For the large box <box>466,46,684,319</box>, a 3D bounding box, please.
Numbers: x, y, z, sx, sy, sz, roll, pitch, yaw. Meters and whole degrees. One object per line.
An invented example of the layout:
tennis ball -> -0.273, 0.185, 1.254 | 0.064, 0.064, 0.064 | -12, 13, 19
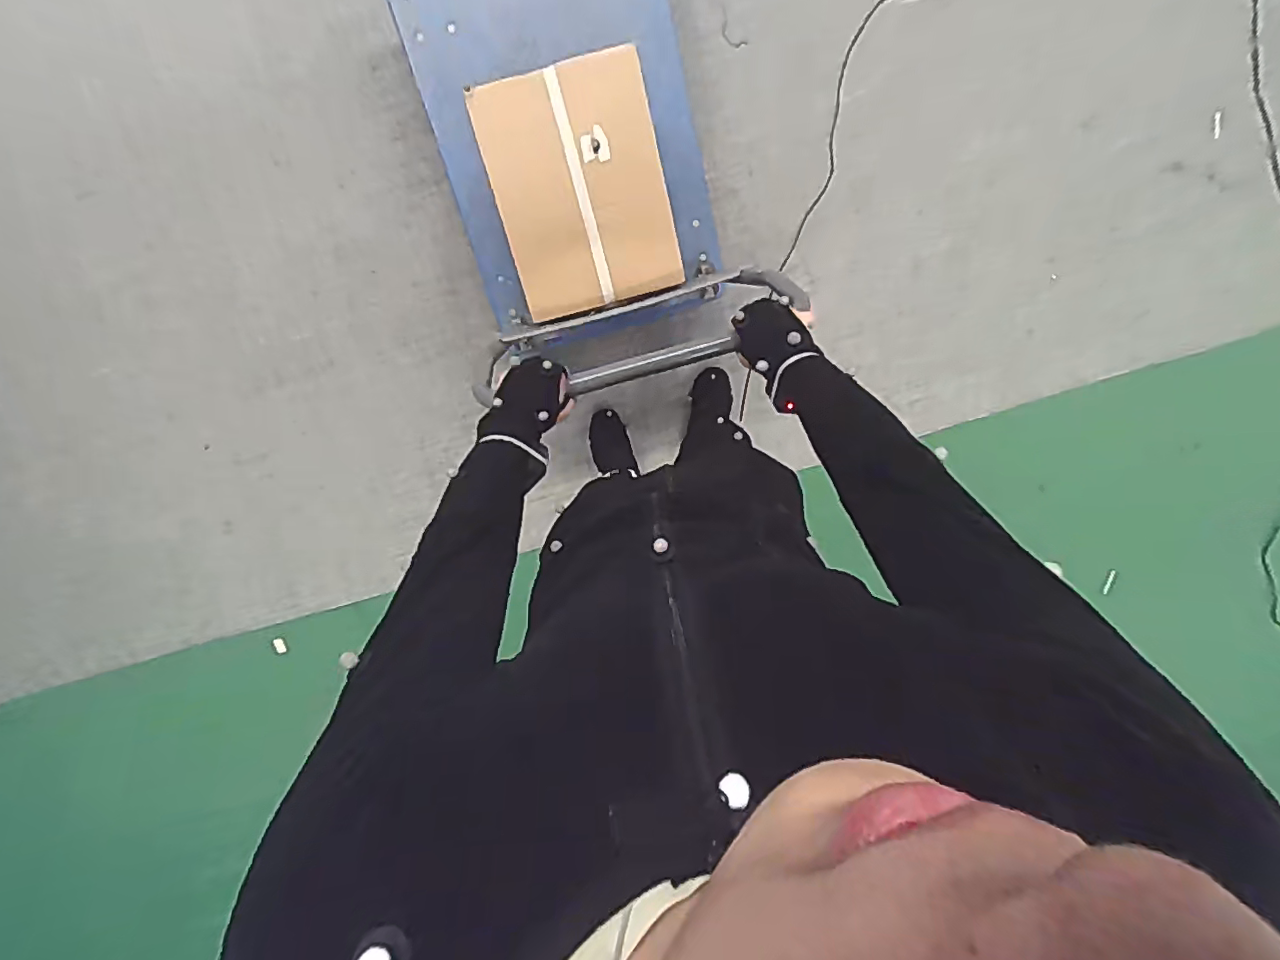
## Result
large box -> -0.118, -0.585, 1.151 | 0.320, 0.320, 0.408 | -15, 108, 0
